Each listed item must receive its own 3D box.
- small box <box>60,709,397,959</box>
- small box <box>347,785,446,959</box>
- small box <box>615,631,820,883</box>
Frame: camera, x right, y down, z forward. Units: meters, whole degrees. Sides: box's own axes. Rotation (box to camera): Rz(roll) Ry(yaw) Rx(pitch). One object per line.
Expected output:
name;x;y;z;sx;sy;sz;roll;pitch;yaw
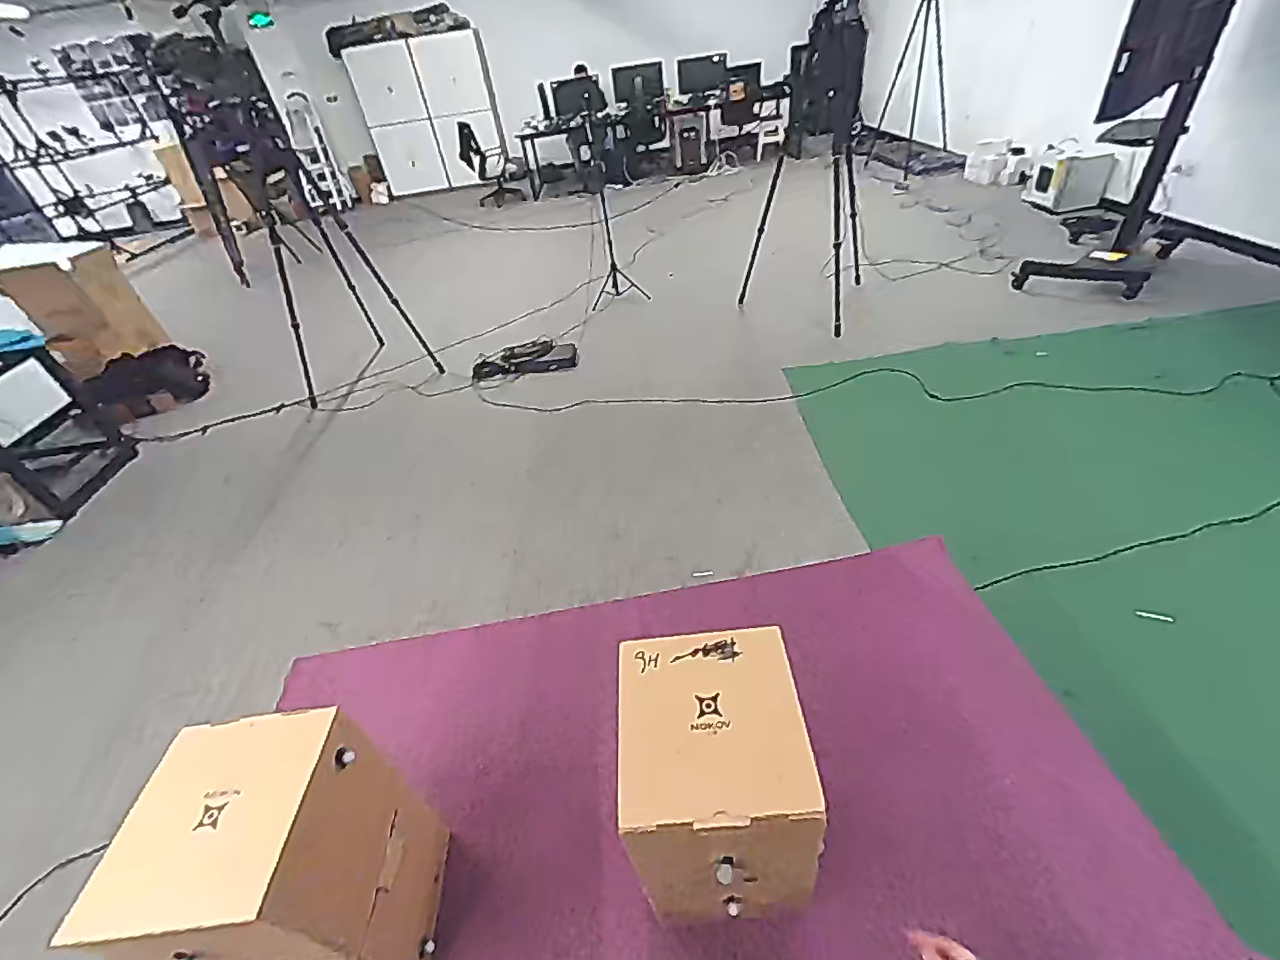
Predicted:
small box;-0.366;0.358;0.530;0.168;0.176;0.179;-8;38;1
small box;-0.347;0.485;0.630;0.179;0.176;0.168;-10;39;1
small box;0.072;0.278;0.537;0.168;0.176;0.179;-6;40;4
